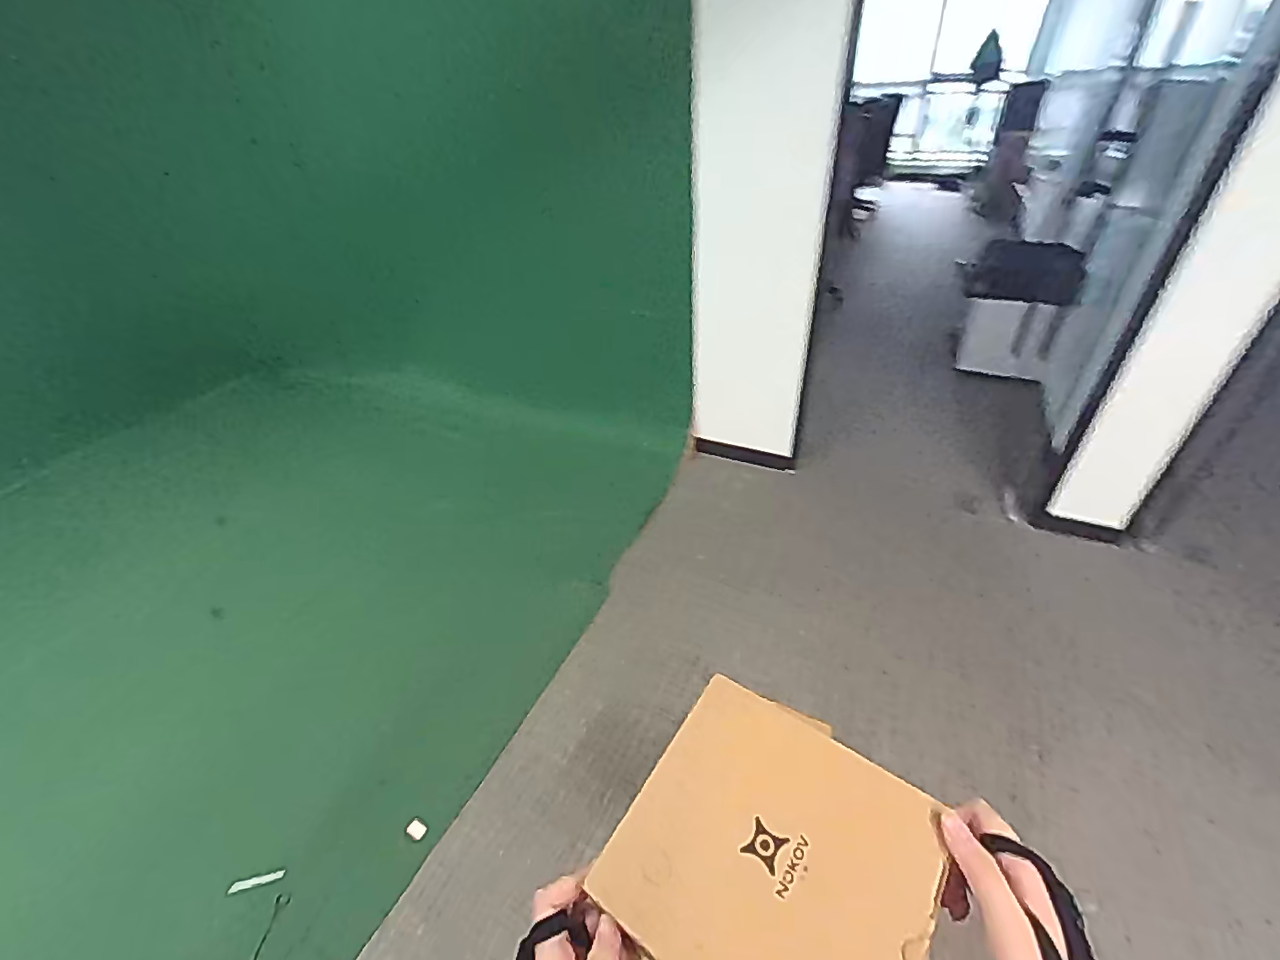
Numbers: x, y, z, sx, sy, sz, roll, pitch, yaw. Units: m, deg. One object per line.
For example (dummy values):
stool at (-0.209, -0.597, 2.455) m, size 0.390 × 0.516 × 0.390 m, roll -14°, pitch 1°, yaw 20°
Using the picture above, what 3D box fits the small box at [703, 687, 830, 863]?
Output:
small box at (0.214, 0.507, 0.936) m, size 0.168 × 0.176 × 0.179 m, roll 16°, pitch 39°, yaw 26°

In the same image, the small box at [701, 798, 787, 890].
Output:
small box at (0.221, 0.632, 1.044) m, size 0.168 × 0.176 × 0.179 m, roll 15°, pitch 38°, yaw 24°
